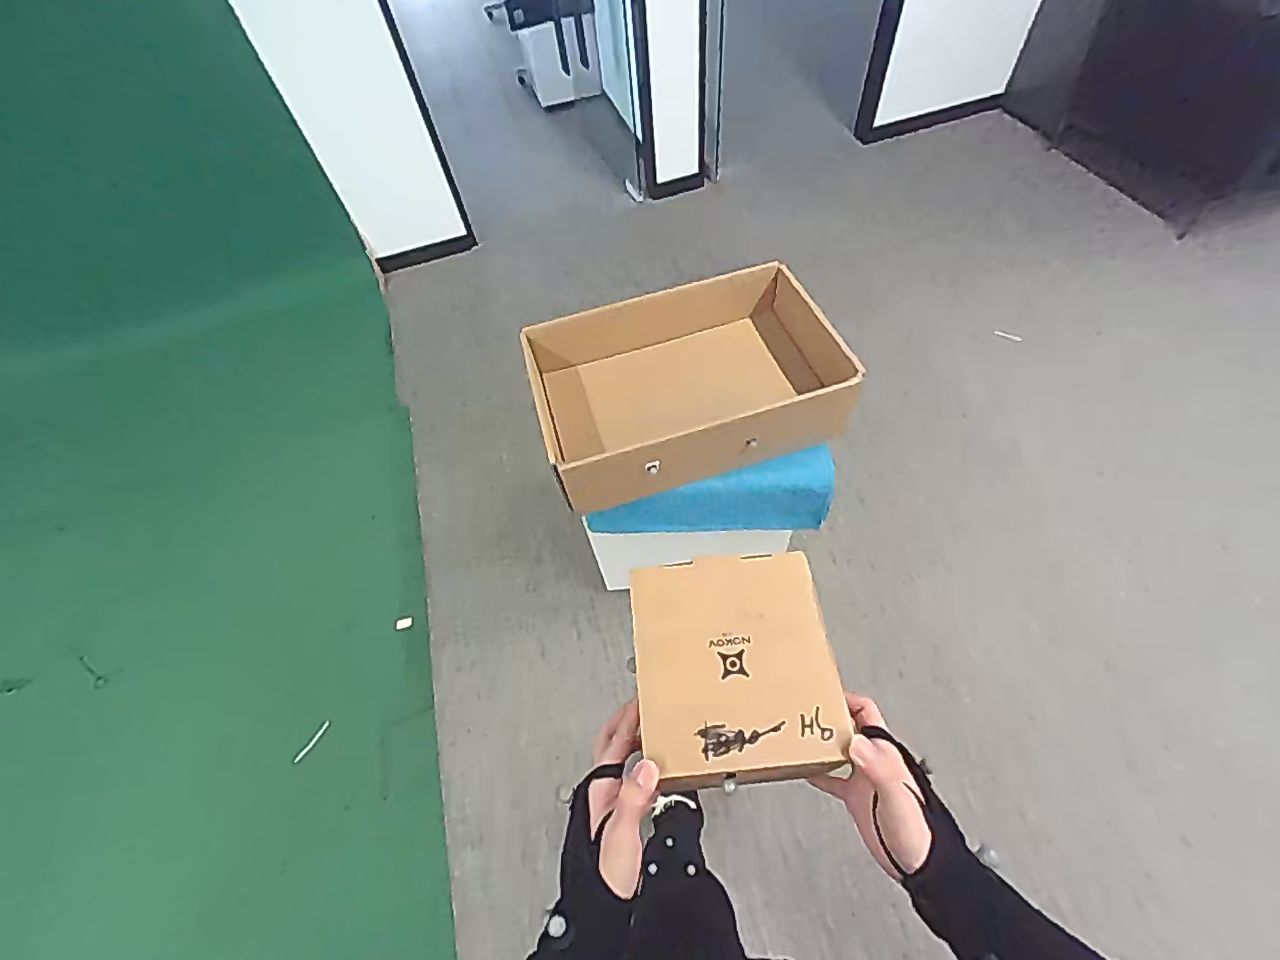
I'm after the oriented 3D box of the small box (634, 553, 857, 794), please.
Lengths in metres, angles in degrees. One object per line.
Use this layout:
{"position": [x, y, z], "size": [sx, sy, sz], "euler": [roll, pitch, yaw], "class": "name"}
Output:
{"position": [0.085, 0.191, 0.523], "size": [0.168, 0.176, 0.179], "euler": [-6, 56, 2], "class": "small box"}
